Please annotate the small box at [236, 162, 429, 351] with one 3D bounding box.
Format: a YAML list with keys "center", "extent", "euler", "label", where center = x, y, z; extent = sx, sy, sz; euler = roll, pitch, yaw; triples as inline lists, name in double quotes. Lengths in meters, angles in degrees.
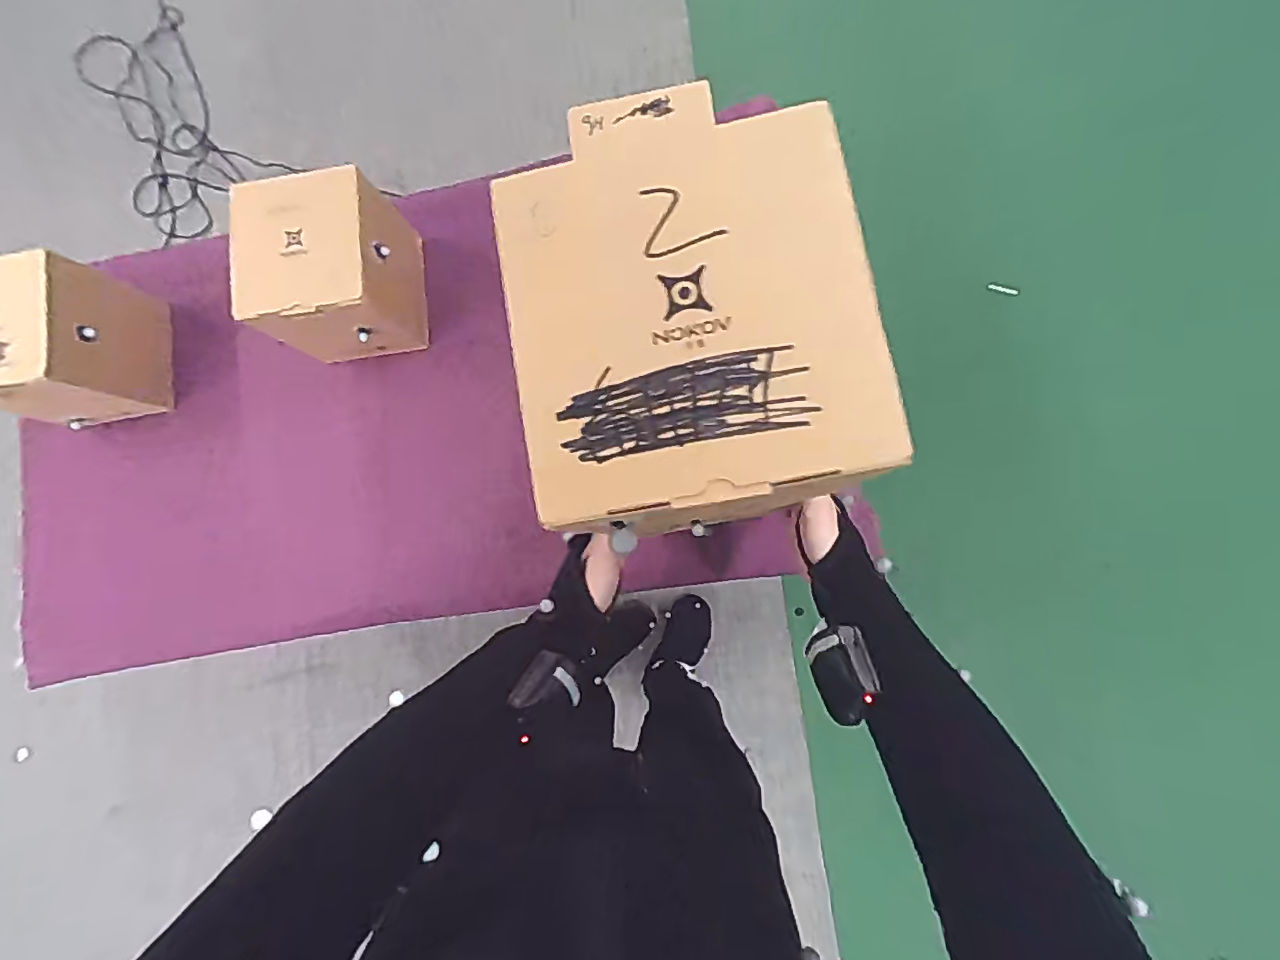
- center: [-0.401, -0.284, 0.730]
  extent: [0.168, 0.176, 0.179]
  euler: [-5, 84, 5]
  label: "small box"

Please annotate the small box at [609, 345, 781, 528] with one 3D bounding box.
- center: [0.065, -0.040, 0.654]
  extent: [0.168, 0.176, 0.179]
  euler: [-9, 83, 7]
  label: "small box"

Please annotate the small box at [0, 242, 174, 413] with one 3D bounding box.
- center: [-0.803, -0.199, 0.760]
  extent: [0.168, 0.176, 0.179]
  euler: [-8, 83, 4]
  label: "small box"

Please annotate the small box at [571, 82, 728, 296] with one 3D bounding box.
- center: [0.019, -0.350, 0.691]
  extent: [0.168, 0.176, 0.179]
  euler: [-7, 86, 5]
  label: "small box"
